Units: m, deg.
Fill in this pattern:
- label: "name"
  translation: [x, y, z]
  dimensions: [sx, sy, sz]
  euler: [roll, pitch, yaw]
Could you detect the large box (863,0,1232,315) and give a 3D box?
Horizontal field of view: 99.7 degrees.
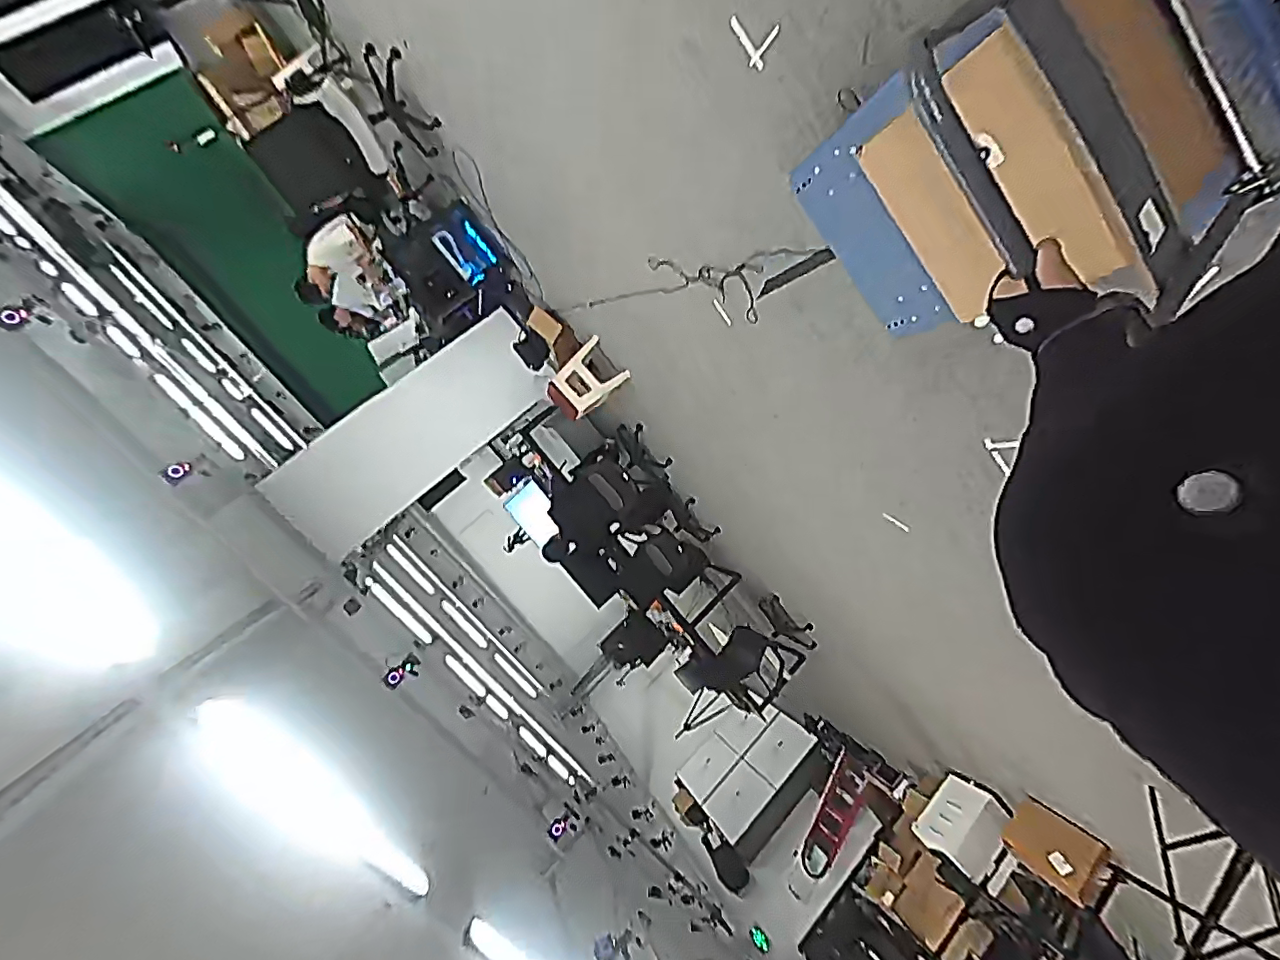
- label: "large box"
  translation: [0.702, -0.584, 0.957]
  dimensions: [0.408, 0.320, 0.320]
  euler: [51, 163, -10]
